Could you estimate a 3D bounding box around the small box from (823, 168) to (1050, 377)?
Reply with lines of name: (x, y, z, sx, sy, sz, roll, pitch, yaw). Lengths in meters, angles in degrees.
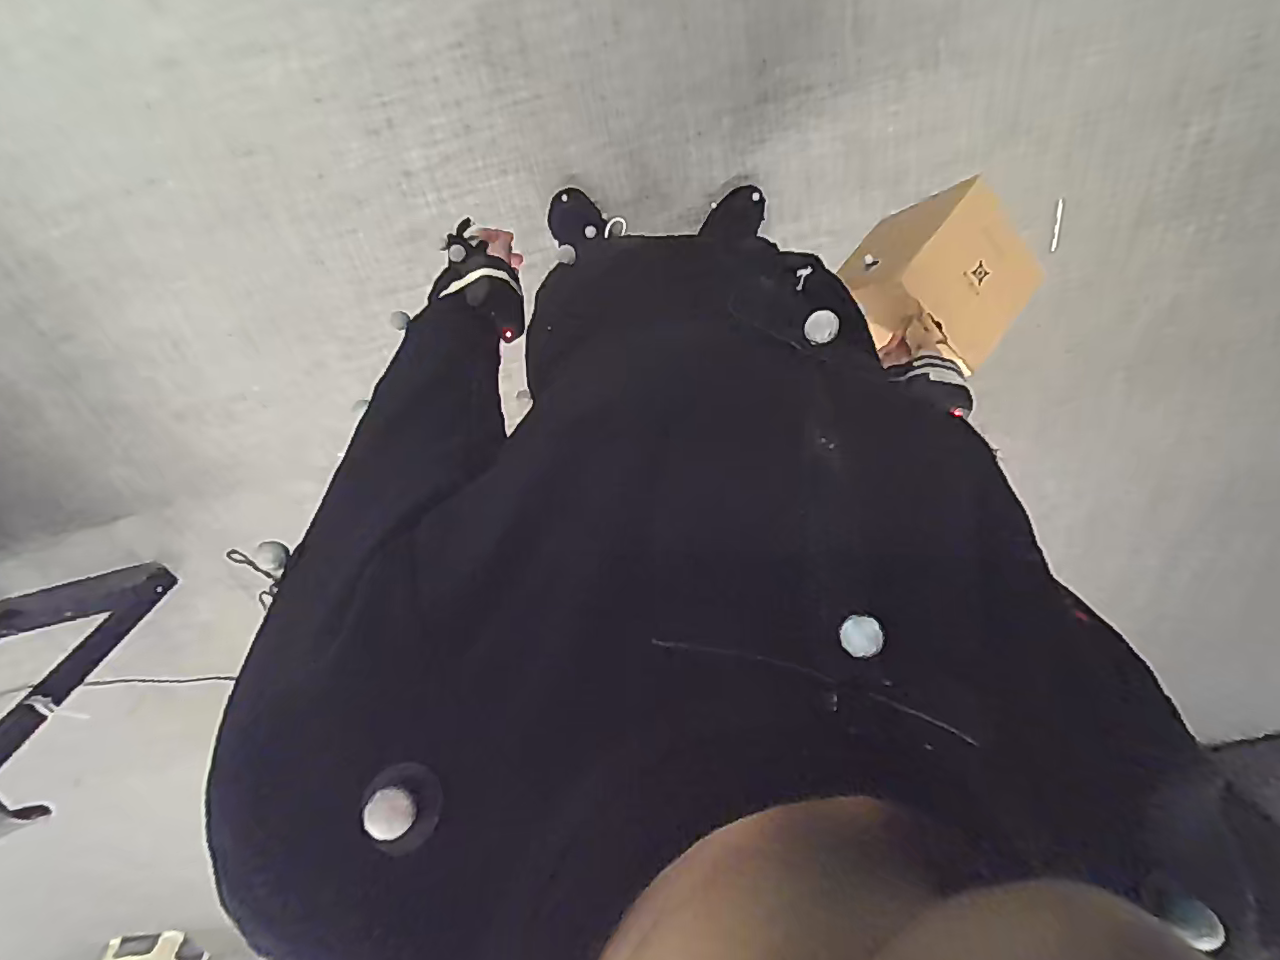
small box: (0.371, -0.252, 0.708, 0.168, 0.176, 0.179, 43, 81, -19)
